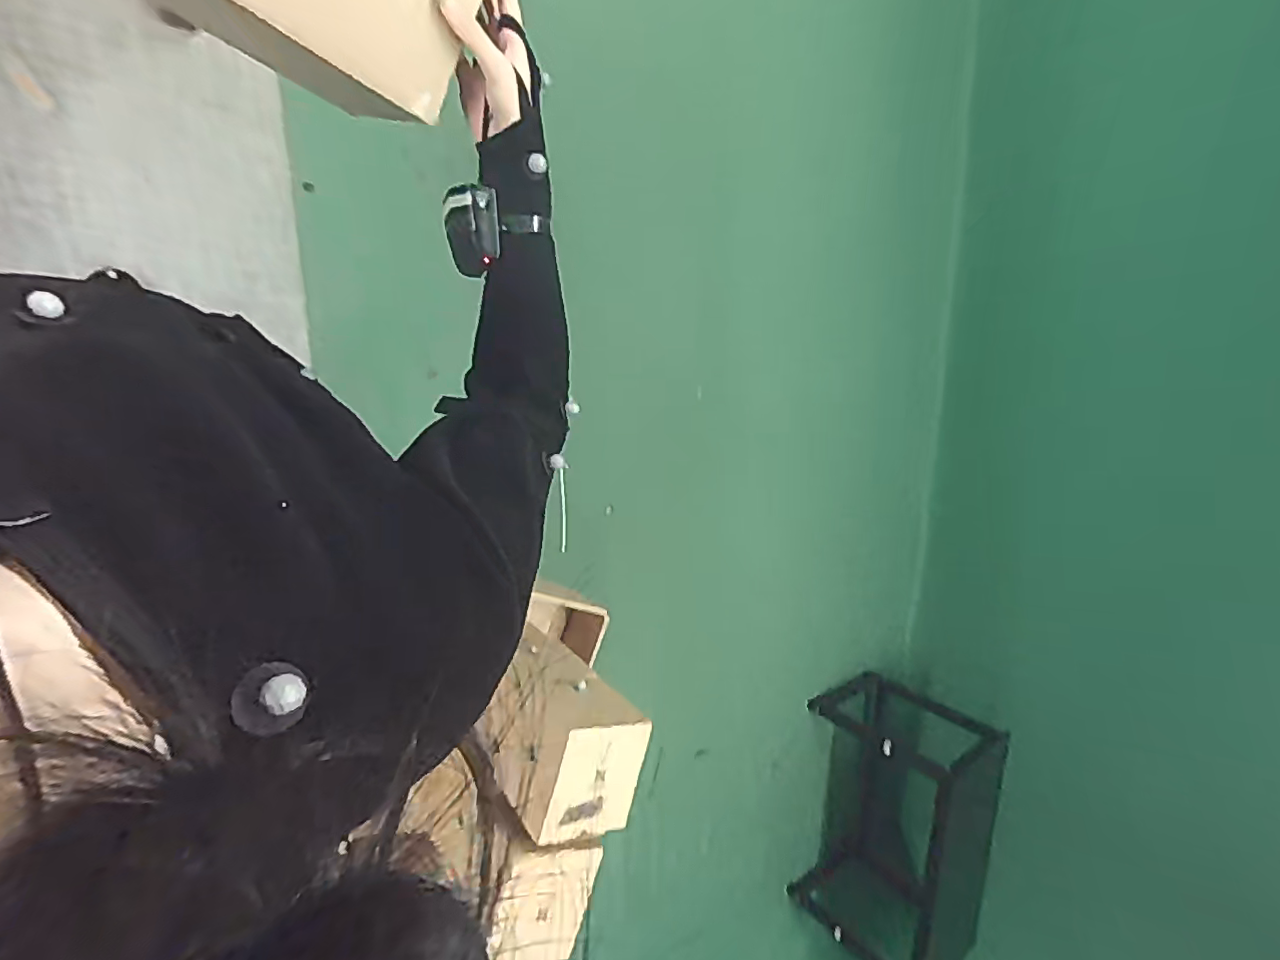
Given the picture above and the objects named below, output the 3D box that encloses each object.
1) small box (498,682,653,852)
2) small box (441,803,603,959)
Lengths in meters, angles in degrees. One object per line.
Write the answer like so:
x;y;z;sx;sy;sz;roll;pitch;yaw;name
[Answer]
-0.111;0.451;0.878;0.168;0.176;0.179;17;88;-39;small box
-0.192;0.642;0.859;0.168;0.176;0.179;25;81;-37;small box
